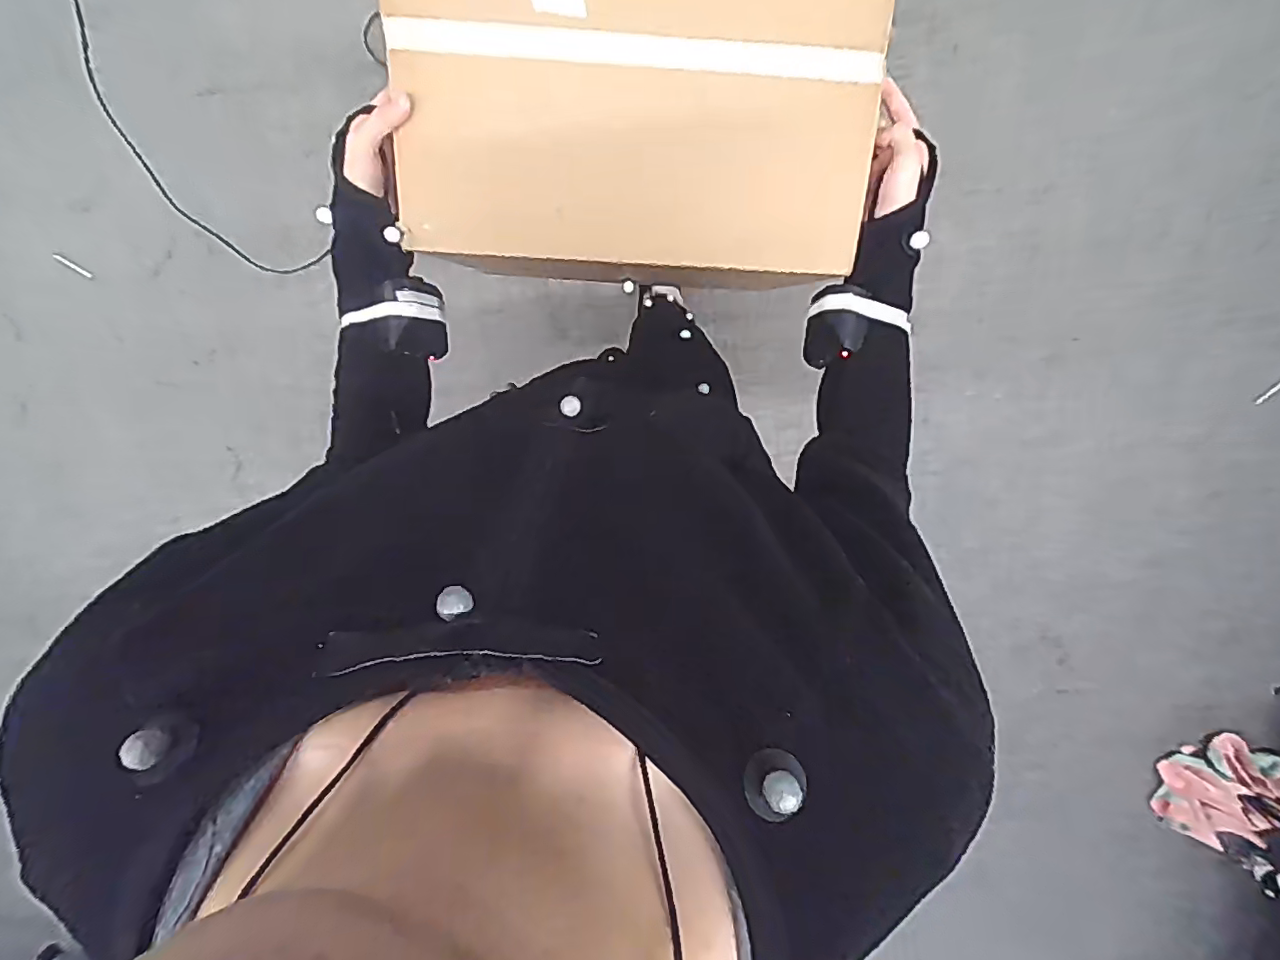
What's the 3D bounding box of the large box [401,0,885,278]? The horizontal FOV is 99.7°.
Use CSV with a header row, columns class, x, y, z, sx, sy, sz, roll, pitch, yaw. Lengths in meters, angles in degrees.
class,x,y,z,sx,sy,sz,roll,pitch,yaw
large box,0.001,-0.398,0.595,0.408,0.320,0.320,2,106,-2
